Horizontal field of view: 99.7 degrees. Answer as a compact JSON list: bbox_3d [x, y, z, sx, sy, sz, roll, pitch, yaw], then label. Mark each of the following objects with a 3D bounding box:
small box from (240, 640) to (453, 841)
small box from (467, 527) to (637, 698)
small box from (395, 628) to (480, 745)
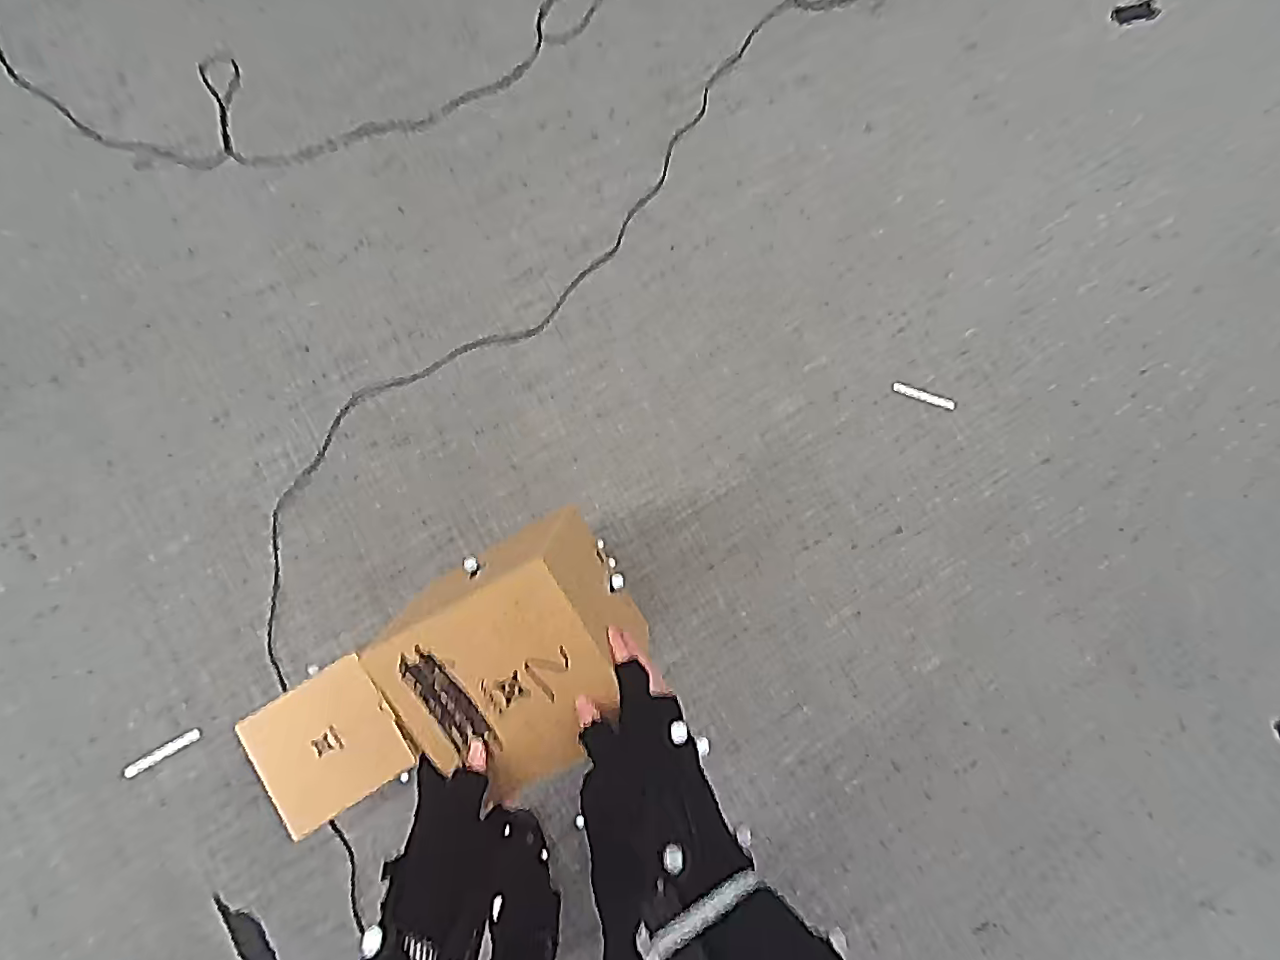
[{"bbox_3d":[-0.400,0.351,0.768,0.179,0.176,0.168,-32,84,-7],"label":"small box"},{"bbox_3d":[-0.124,0.186,0.802,0.179,0.176,0.168,-32,84,-8],"label":"small box"},{"bbox_3d":[-0.401,0.370,0.929,0.168,0.176,0.179,-28,85,-6],"label":"small box"}]
